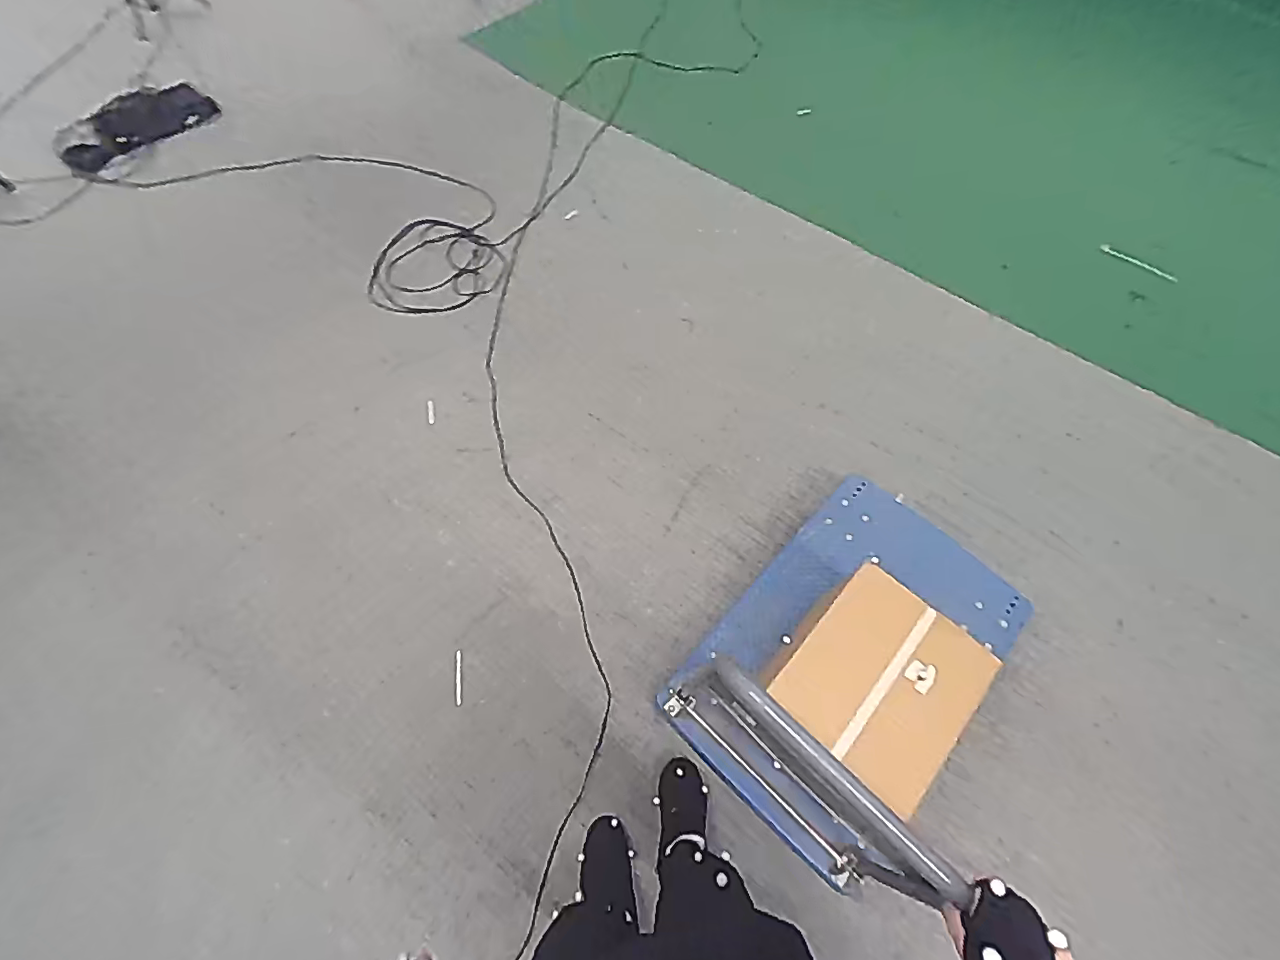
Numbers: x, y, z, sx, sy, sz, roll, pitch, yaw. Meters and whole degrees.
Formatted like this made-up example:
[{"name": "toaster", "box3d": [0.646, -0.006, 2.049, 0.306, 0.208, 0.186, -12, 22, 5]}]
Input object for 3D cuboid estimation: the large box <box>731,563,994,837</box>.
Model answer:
[{"name": "large box", "box3d": [0.453, 0.465, 1.170, 0.320, 0.320, 0.408, 40, 69, 16]}]
